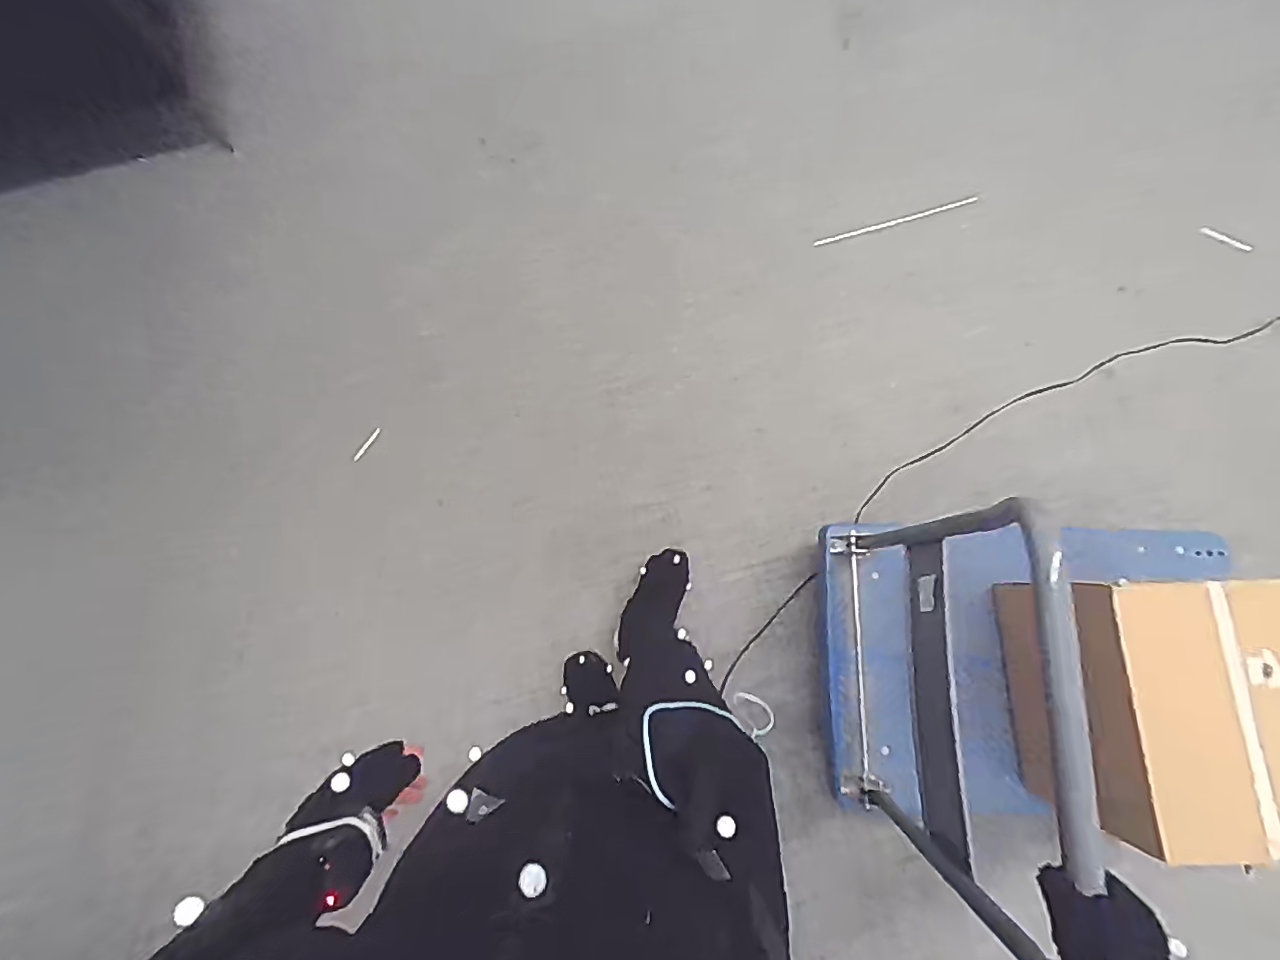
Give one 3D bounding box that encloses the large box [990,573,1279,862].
[{"bbox_3d":[0.902,0.385,0.969,0.320,0.320,0.408,-3,78,0],"label":"large box"}]
